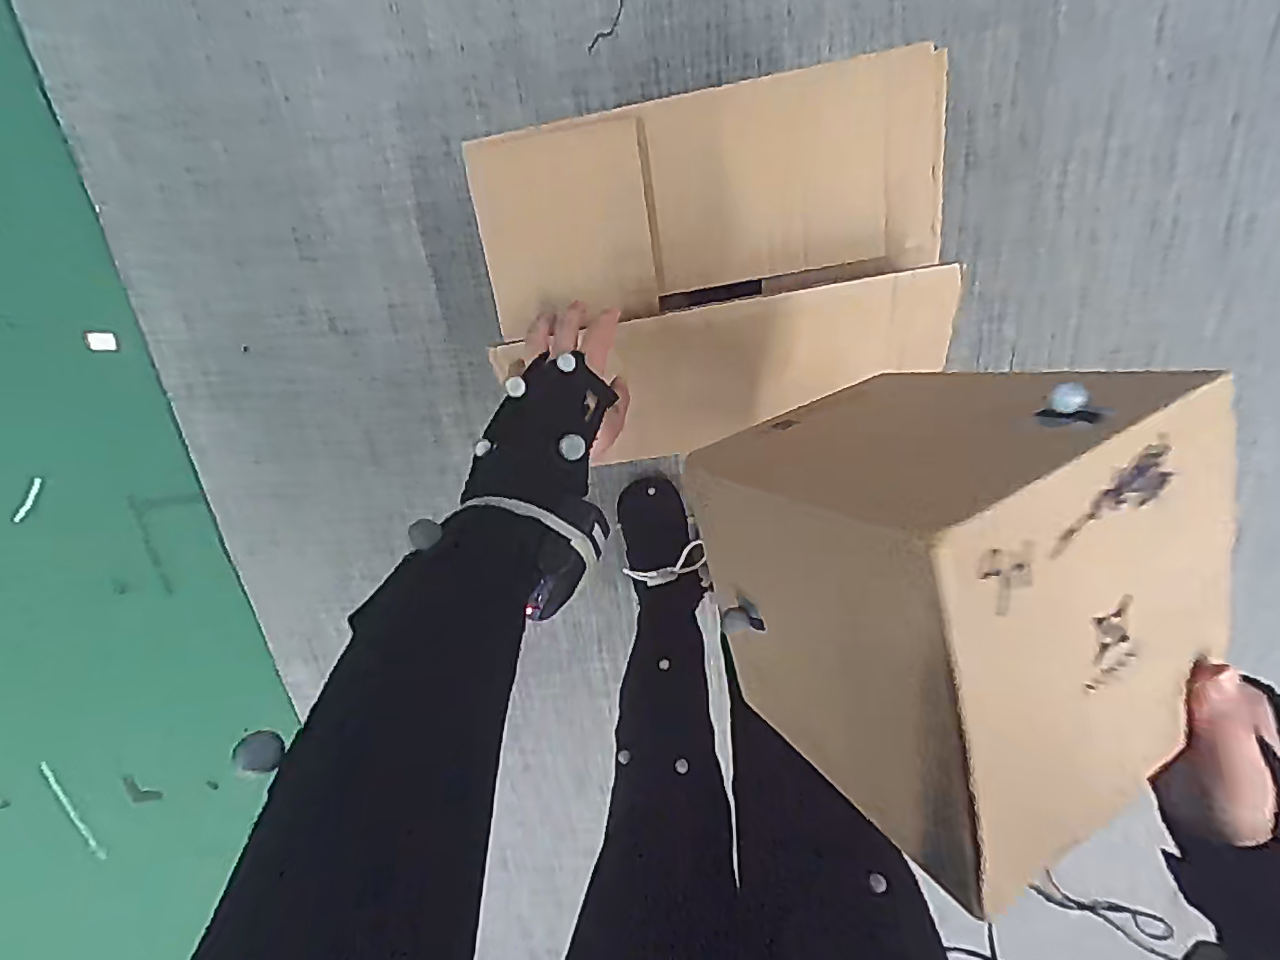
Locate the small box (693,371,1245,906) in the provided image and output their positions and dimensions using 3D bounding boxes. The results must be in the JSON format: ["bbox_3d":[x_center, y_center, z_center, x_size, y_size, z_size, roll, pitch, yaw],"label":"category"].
[{"bbox_3d":[0.150,0.048,0.284,0.168,0.176,0.179,-22,109,-19],"label":"small box"}]
